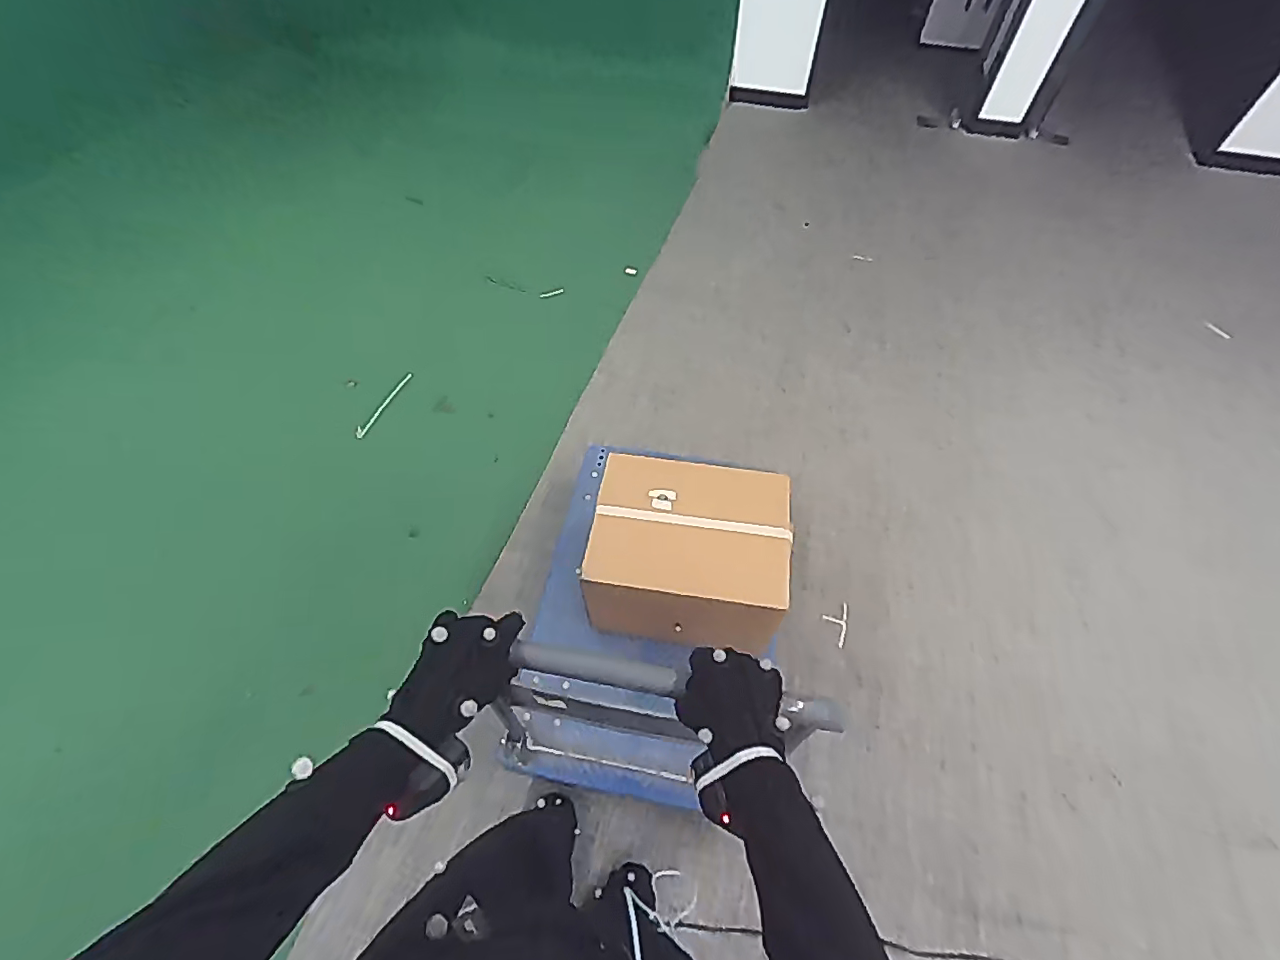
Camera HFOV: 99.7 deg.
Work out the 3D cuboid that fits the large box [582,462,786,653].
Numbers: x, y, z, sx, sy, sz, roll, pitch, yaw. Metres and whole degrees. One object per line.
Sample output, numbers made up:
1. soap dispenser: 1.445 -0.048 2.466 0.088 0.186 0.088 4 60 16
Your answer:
1. large box: 0.109 0.185 1.248 0.408 0.320 0.320 7 56 7
